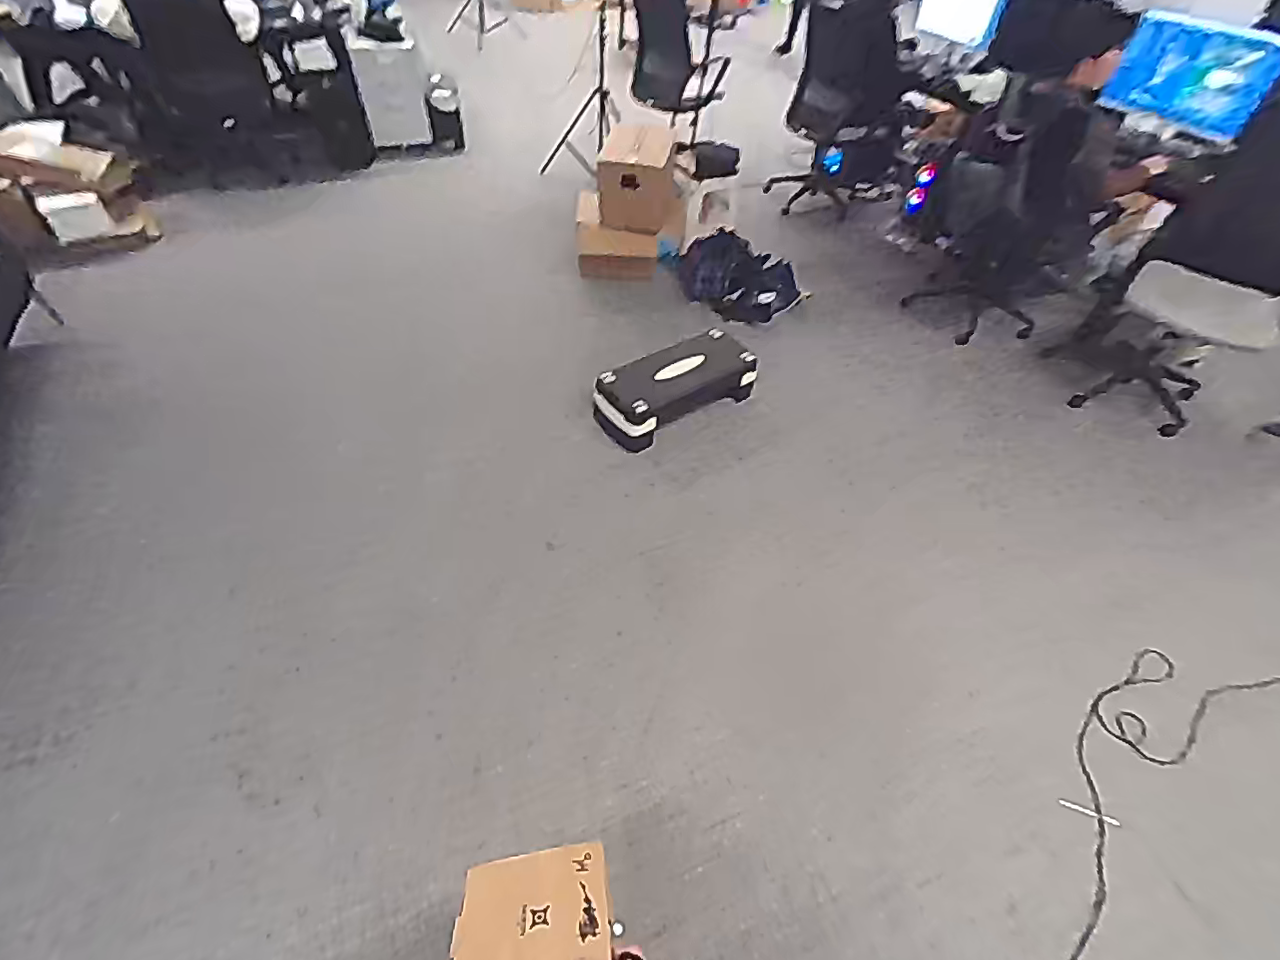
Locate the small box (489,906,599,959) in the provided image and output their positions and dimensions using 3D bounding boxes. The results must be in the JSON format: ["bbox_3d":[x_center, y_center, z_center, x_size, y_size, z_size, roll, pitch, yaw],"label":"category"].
[{"bbox_3d":[-0.148,0.883,0.932,0.168,0.176,0.179,-21,54,-18],"label":"small box"}]

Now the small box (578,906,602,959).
[{"bbox_3d":[-0.156,0.984,1.062,0.168,0.176,0.179,-20,55,-18],"label":"small box"}]
